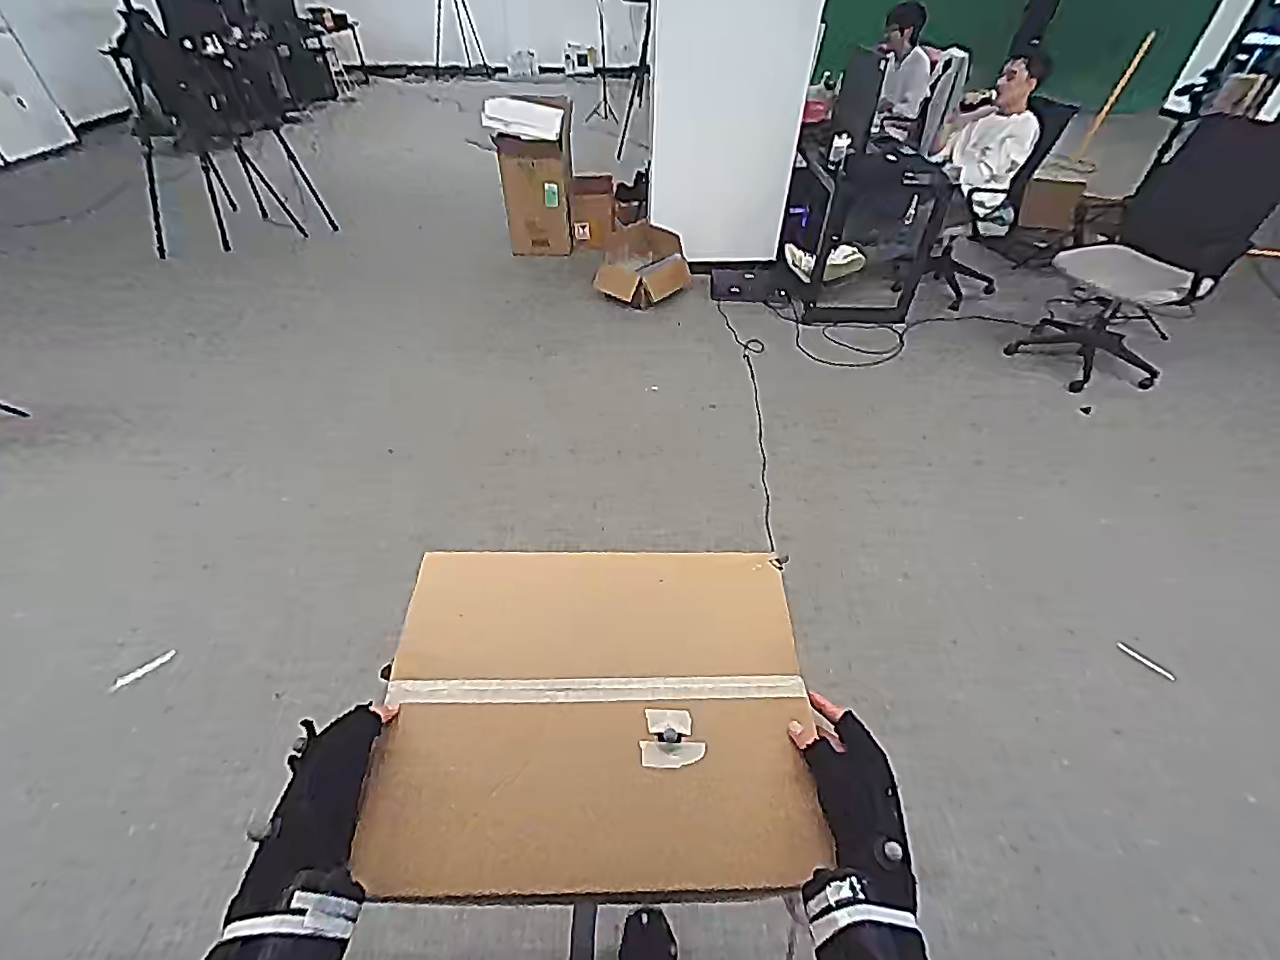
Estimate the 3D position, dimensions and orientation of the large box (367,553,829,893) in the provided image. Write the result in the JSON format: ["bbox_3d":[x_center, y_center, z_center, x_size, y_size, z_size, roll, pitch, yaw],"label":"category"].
[{"bbox_3d":[-0.044,0.301,0.665,0.408,0.320,0.320,1,52,-3],"label":"large box"}]
